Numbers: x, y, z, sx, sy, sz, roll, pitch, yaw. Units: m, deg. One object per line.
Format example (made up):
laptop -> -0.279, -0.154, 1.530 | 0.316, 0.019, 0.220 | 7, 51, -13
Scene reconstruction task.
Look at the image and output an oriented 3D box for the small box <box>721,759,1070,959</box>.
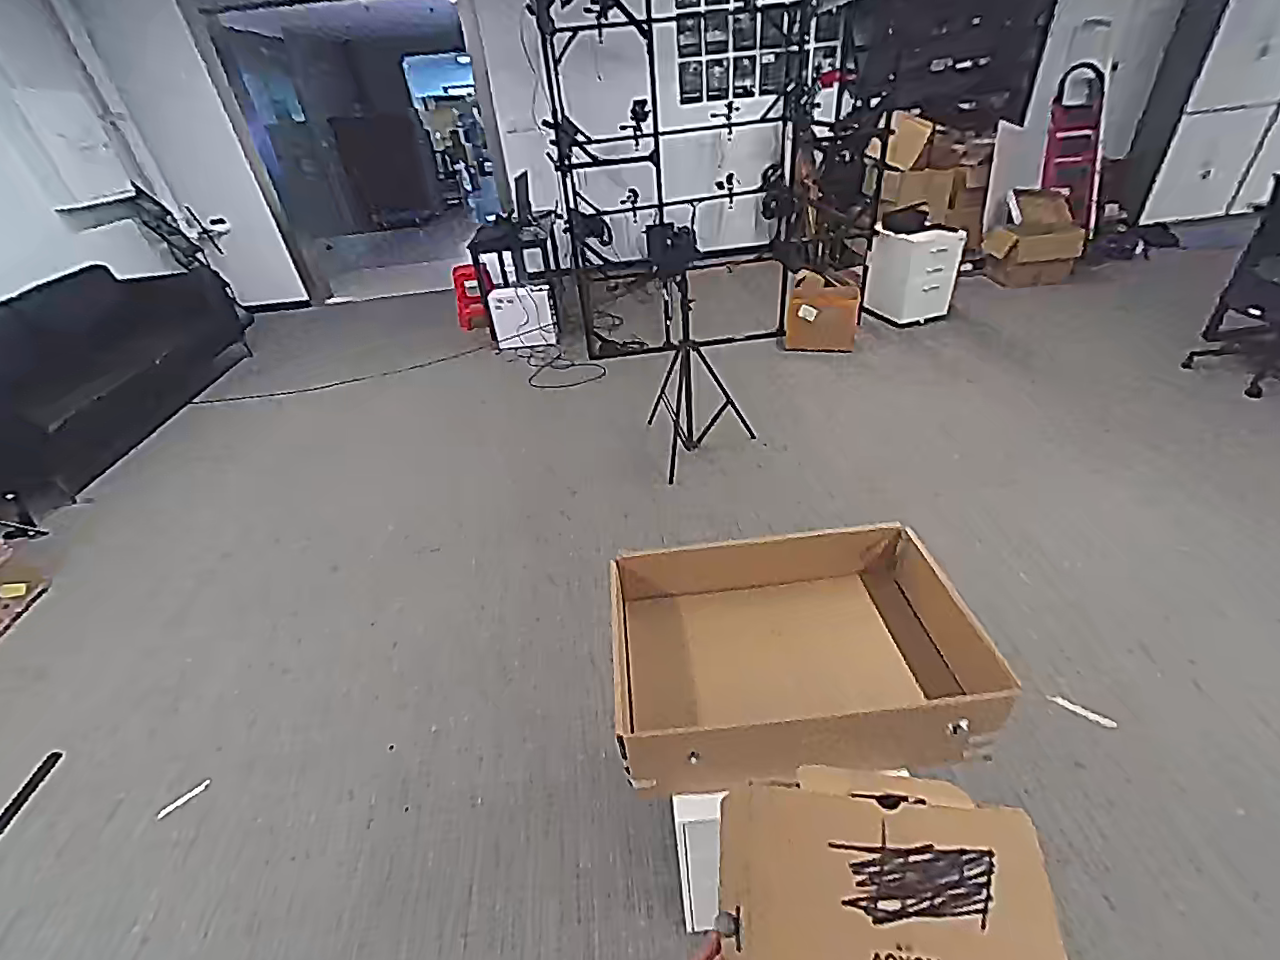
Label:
small box -> 0.142, 0.297, 0.348 | 0.168, 0.176, 0.179 | 4, 56, 4
